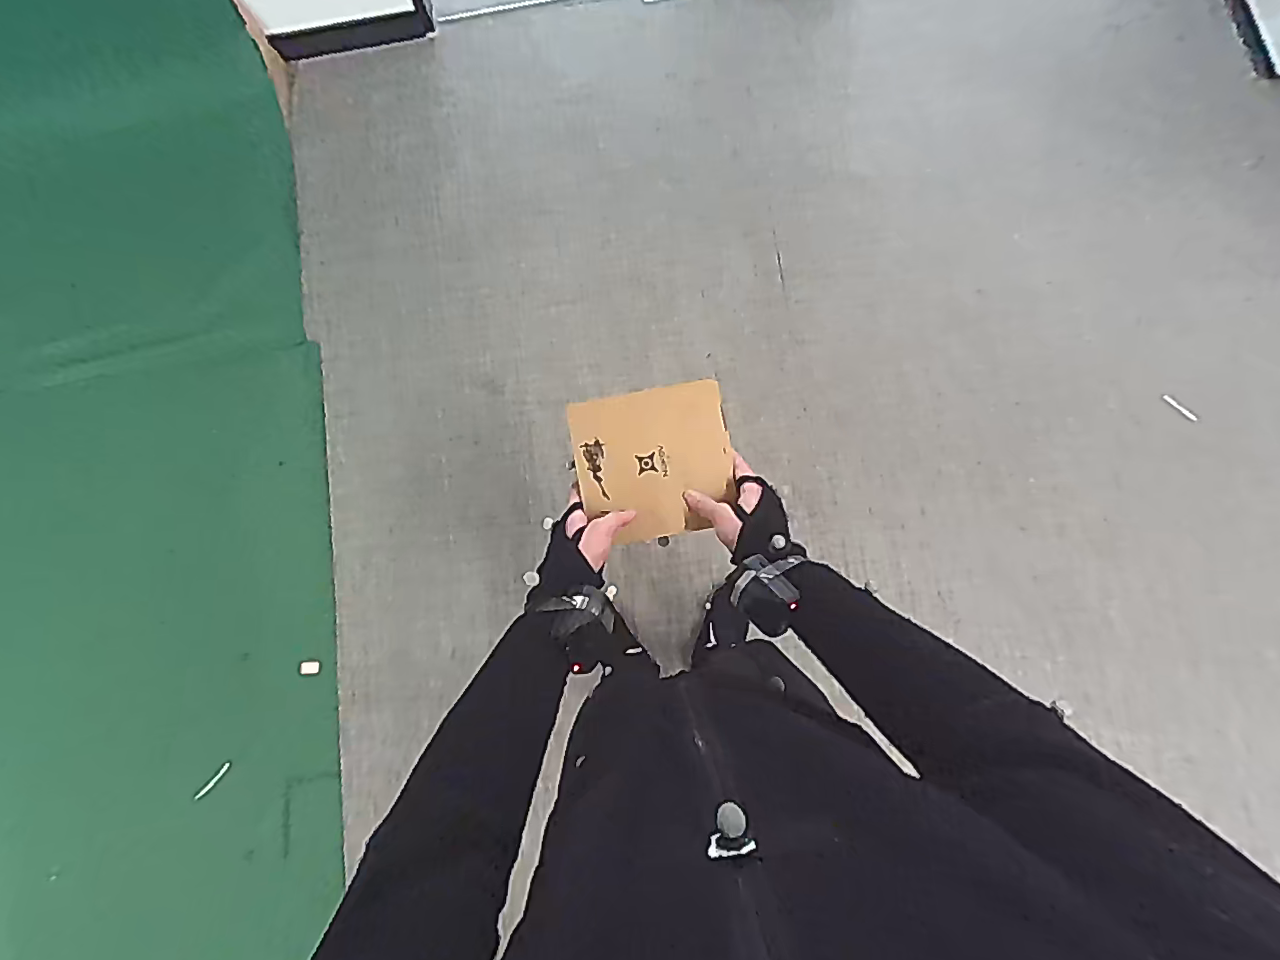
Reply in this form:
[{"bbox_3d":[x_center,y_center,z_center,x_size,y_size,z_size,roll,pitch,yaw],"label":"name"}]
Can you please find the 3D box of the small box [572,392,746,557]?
[{"bbox_3d":[0.018,-0.002,0.681,0.179,0.176,0.168,-10,85,-2],"label":"small box"}]
